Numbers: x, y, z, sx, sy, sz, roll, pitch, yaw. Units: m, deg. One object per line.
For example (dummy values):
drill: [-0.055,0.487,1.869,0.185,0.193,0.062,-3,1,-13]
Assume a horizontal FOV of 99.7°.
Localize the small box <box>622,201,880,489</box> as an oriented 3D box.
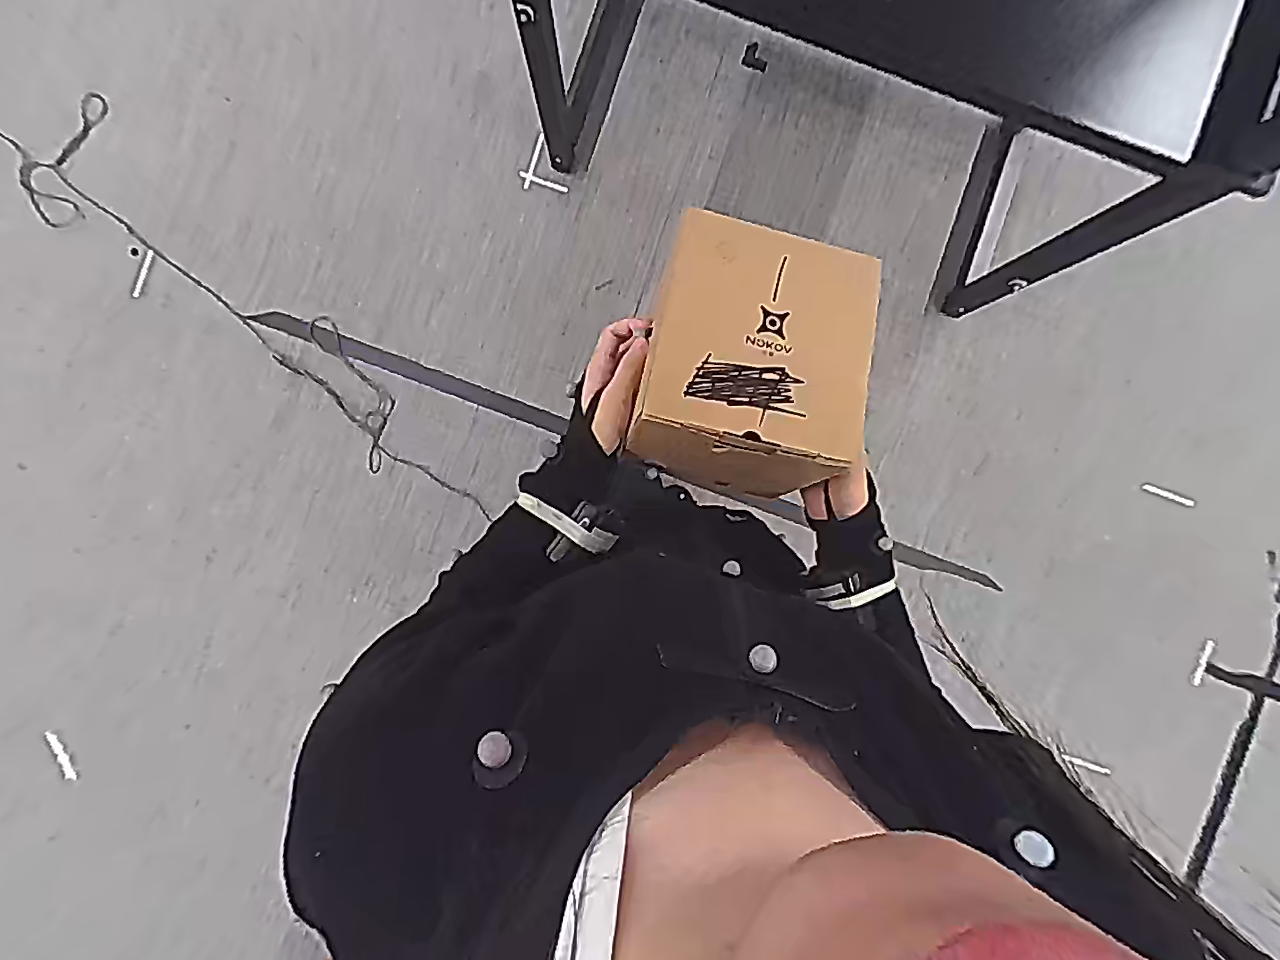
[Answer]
small box: [0.083,-0.099,0.481,0.168,0.176,0.179,13,78,-6]
